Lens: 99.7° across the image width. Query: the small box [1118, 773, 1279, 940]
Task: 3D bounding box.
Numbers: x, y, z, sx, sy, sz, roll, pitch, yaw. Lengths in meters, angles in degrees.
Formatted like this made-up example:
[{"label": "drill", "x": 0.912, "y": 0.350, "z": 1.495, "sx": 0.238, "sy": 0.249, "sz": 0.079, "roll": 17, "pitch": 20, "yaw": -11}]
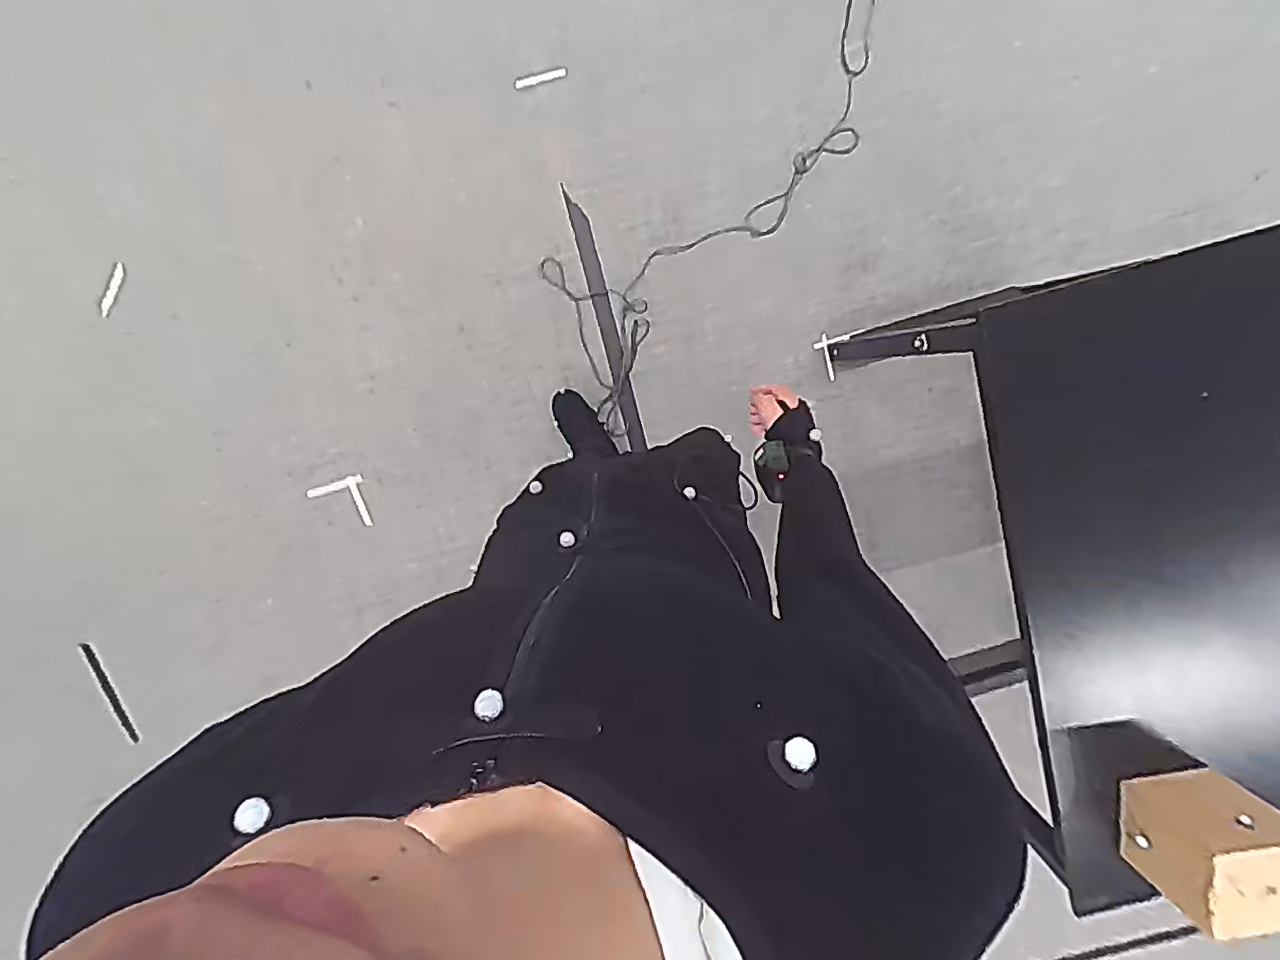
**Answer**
[{"label": "small box", "x": 0.998, "y": 0.645, "z": 0.946, "sx": 0.179, "sy": 0.176, "sz": 0.168, "roll": -8, "pitch": 100, "yaw": 0}]
